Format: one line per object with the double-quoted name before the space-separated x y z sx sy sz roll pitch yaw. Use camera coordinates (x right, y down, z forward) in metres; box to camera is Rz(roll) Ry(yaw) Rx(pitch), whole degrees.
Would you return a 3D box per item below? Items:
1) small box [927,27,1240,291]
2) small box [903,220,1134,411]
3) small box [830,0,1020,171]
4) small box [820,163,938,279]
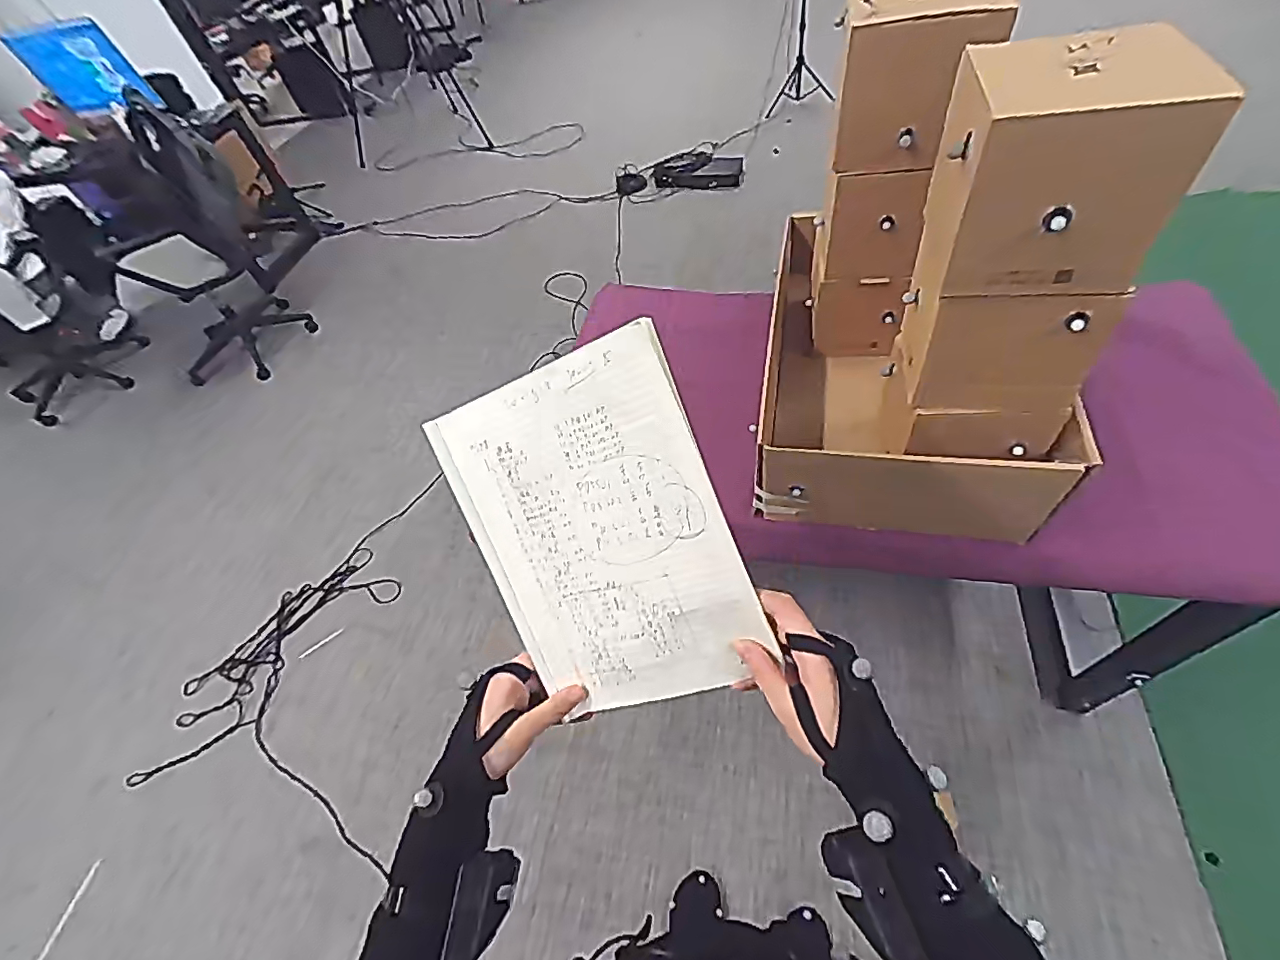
"small box" 0.394 -0.301 0.526 0.168 0.176 0.179 5 53 15
"small box" 0.427 -0.199 0.652 0.179 0.176 0.168 5 53 15
"small box" 0.357 -0.533 0.715 0.179 0.176 0.168 5 55 13
"small box" 0.384 -0.434 0.843 0.179 0.176 0.168 2 55 13
